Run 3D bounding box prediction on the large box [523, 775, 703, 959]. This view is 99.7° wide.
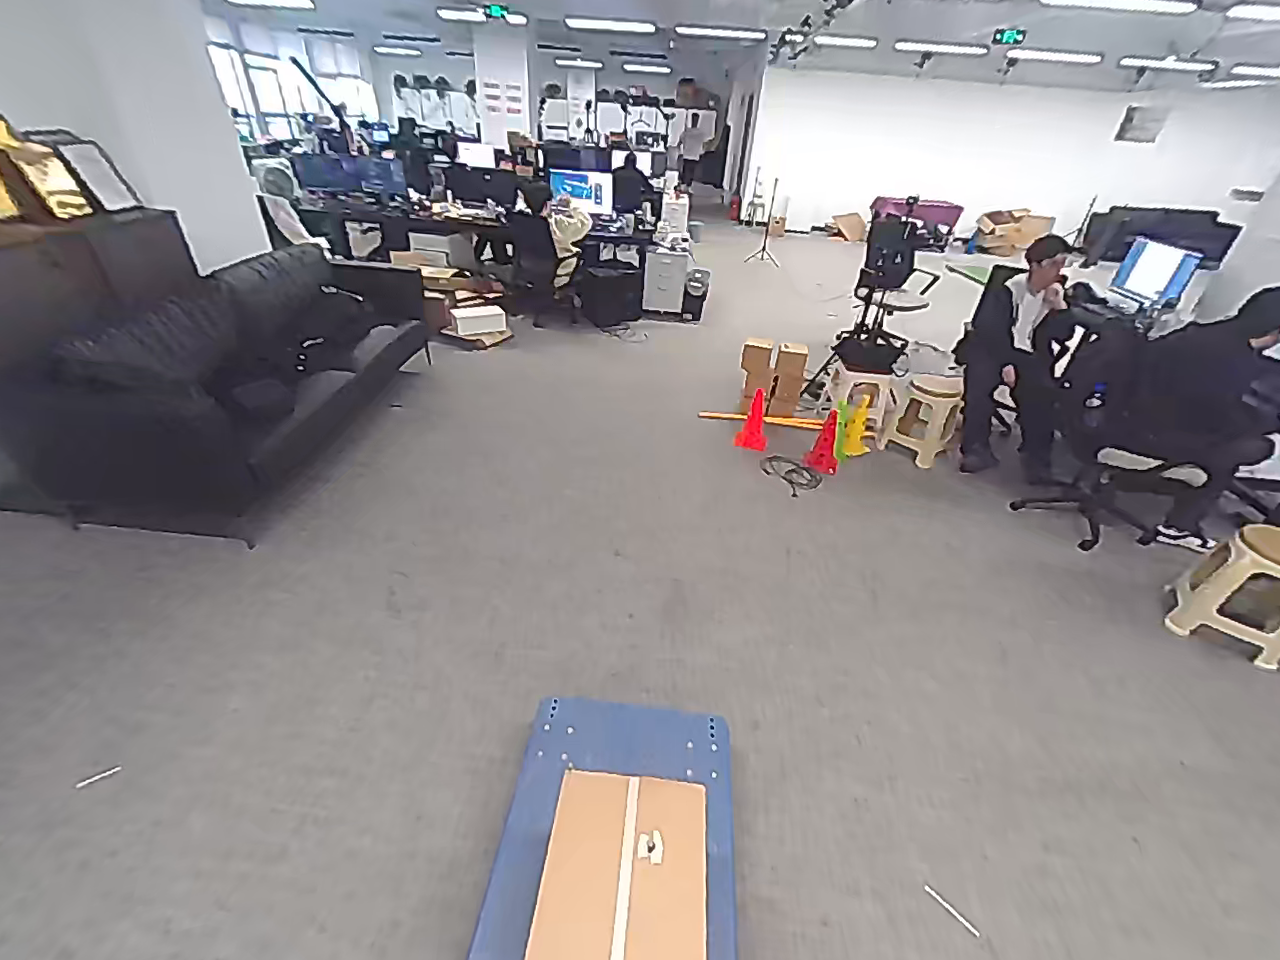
[{"bbox_3d":[-0.045,0.894,1.100,0.320,0.320,0.408,6,33,2],"label":"large box"}]
